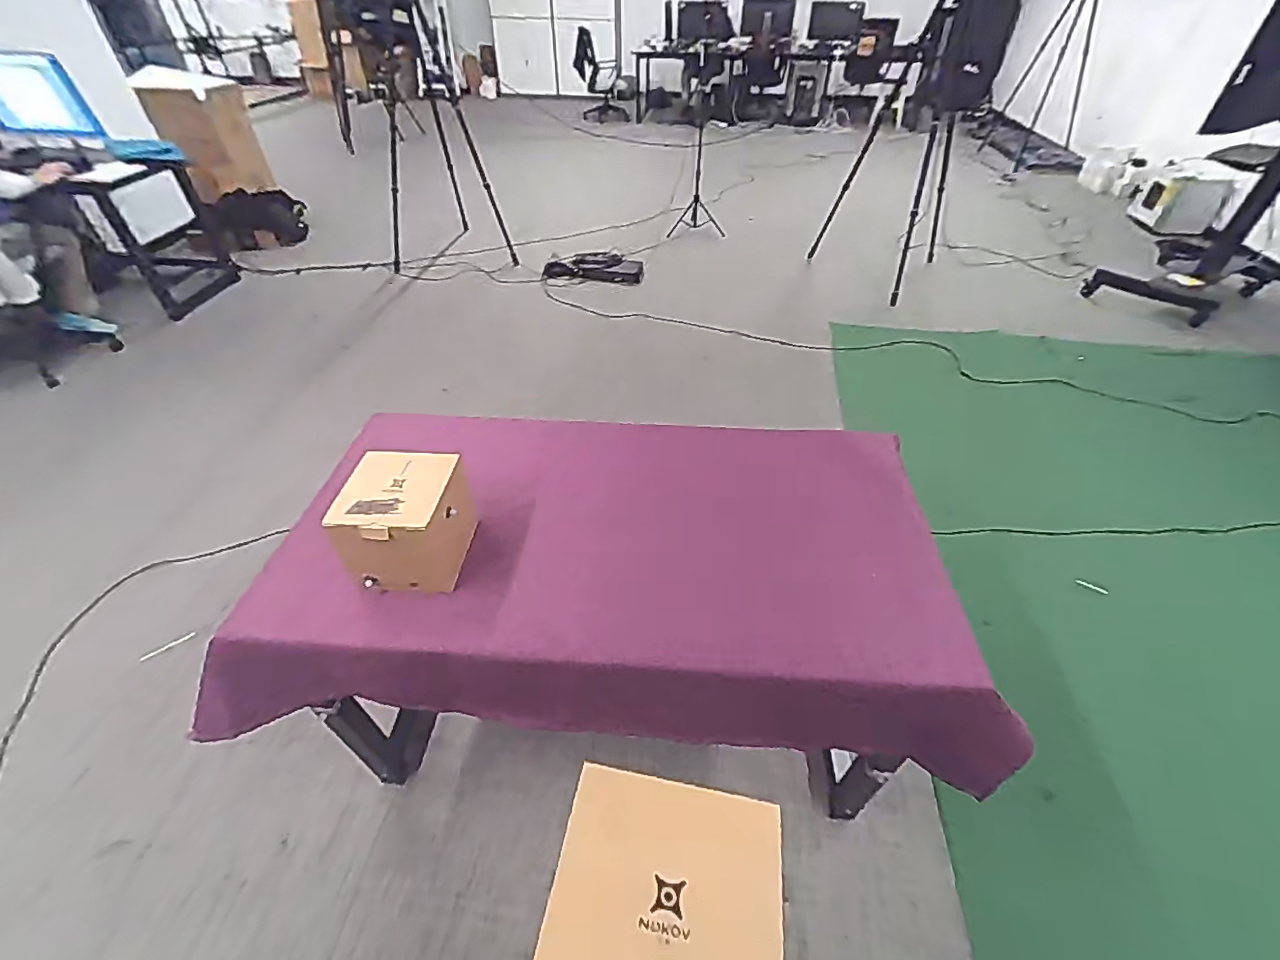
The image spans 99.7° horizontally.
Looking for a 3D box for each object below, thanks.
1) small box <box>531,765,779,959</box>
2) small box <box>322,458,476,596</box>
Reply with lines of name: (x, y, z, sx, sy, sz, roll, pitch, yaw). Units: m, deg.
small box: (0.011, 0.367, 0.431, 0.168, 0.176, 0.179, 9, 39, 7)
small box: (-0.396, 0.082, 0.929, 0.168, 0.176, 0.179, 2, 42, 2)
